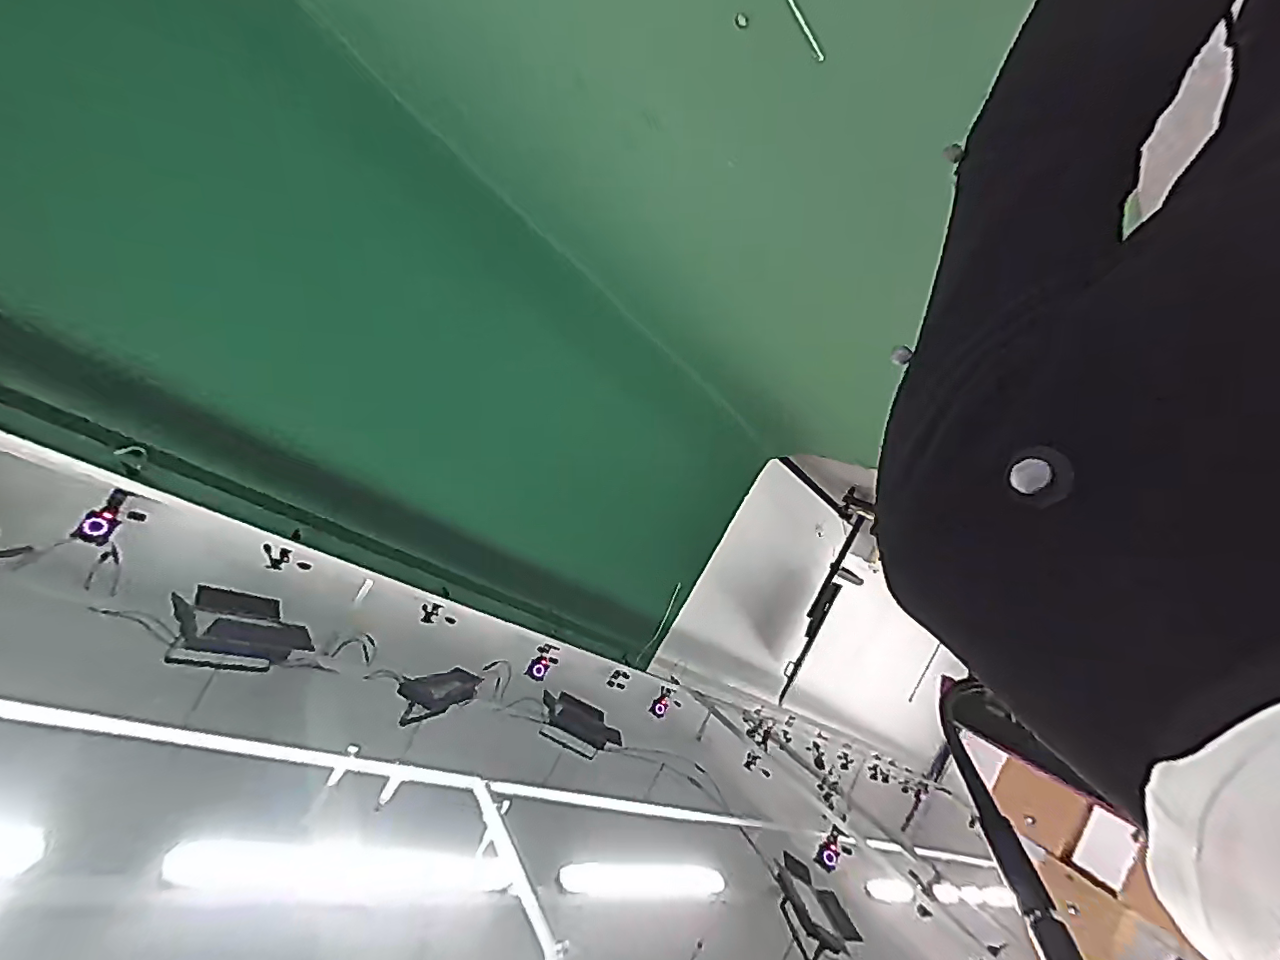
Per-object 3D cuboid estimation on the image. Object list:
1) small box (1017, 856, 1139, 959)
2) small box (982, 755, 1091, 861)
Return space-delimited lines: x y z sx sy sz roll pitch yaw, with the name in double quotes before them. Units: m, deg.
"small box" 1.056 1.042 1.303 0.179 0.176 0.168 32 175 -34
"small box" 1.056 0.865 1.433 0.168 0.176 0.179 33 174 -36
